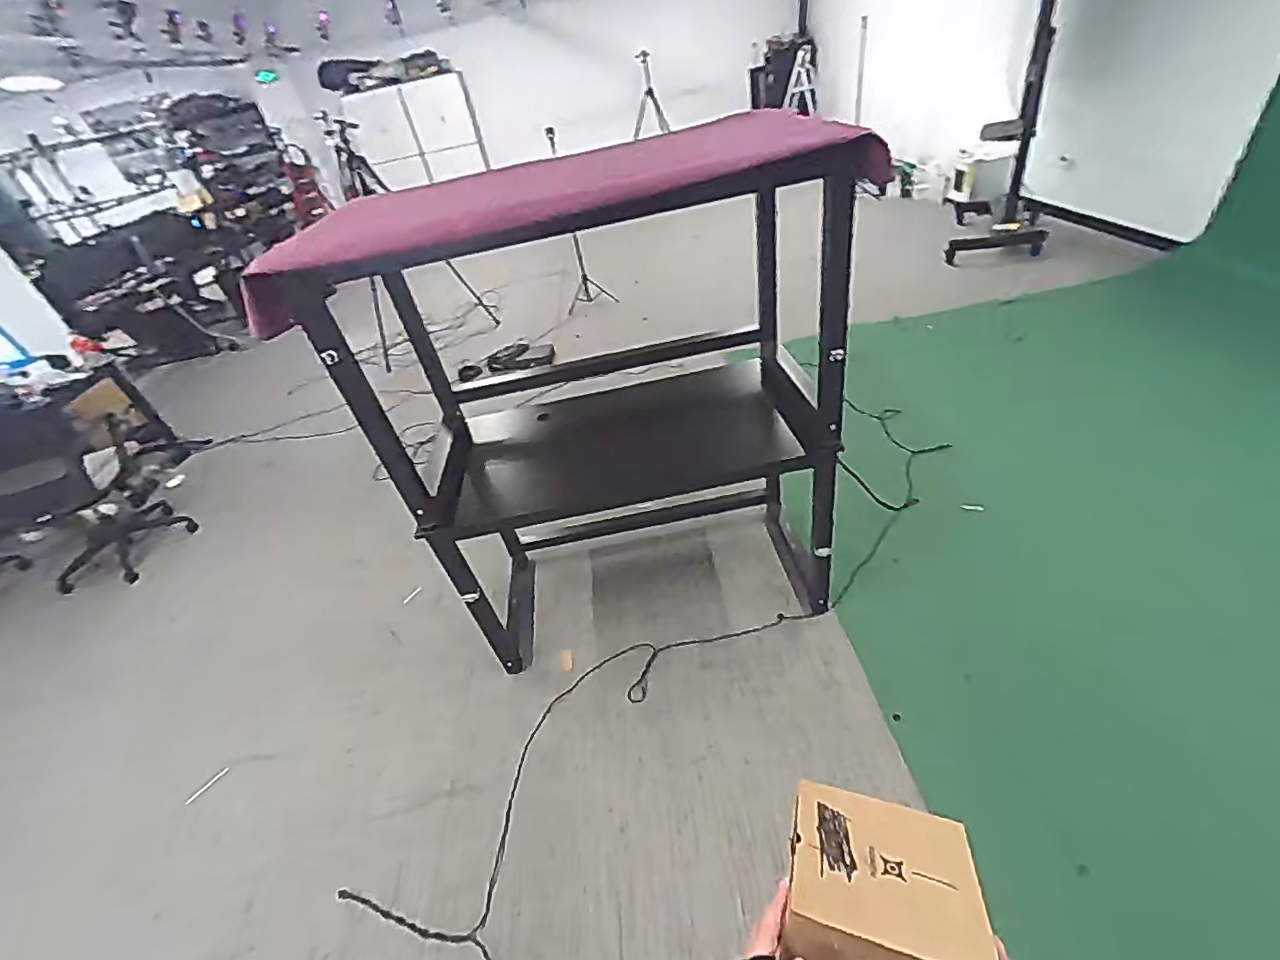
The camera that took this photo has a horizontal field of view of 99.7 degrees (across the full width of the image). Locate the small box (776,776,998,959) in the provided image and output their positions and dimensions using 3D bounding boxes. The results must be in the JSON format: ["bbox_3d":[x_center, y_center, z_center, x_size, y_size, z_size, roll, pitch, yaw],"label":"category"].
[{"bbox_3d":[0.238,0.455,0.559,0.179,0.176,0.168,7,16,18],"label":"small box"}]
